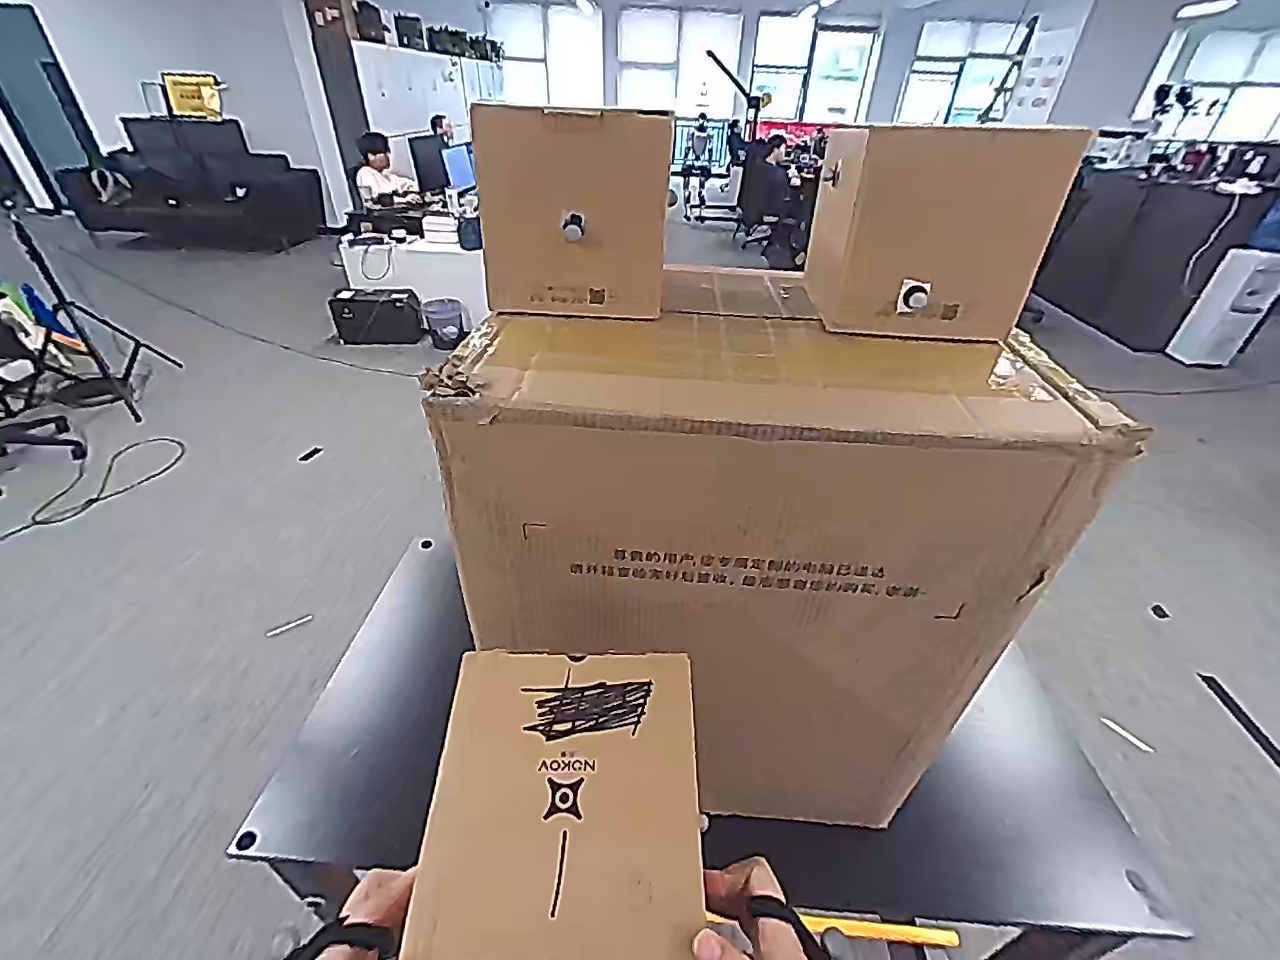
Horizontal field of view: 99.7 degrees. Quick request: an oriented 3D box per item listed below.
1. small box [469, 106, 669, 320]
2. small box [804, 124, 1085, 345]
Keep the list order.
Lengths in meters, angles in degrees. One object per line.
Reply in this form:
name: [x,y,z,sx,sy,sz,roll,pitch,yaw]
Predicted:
small box: [-0.060,-0.271,0.547,0.168,0.176,0.179,2,35,-2]
small box: [0.266,-0.245,0.530,0.168,0.176,0.179,3,35,5]
